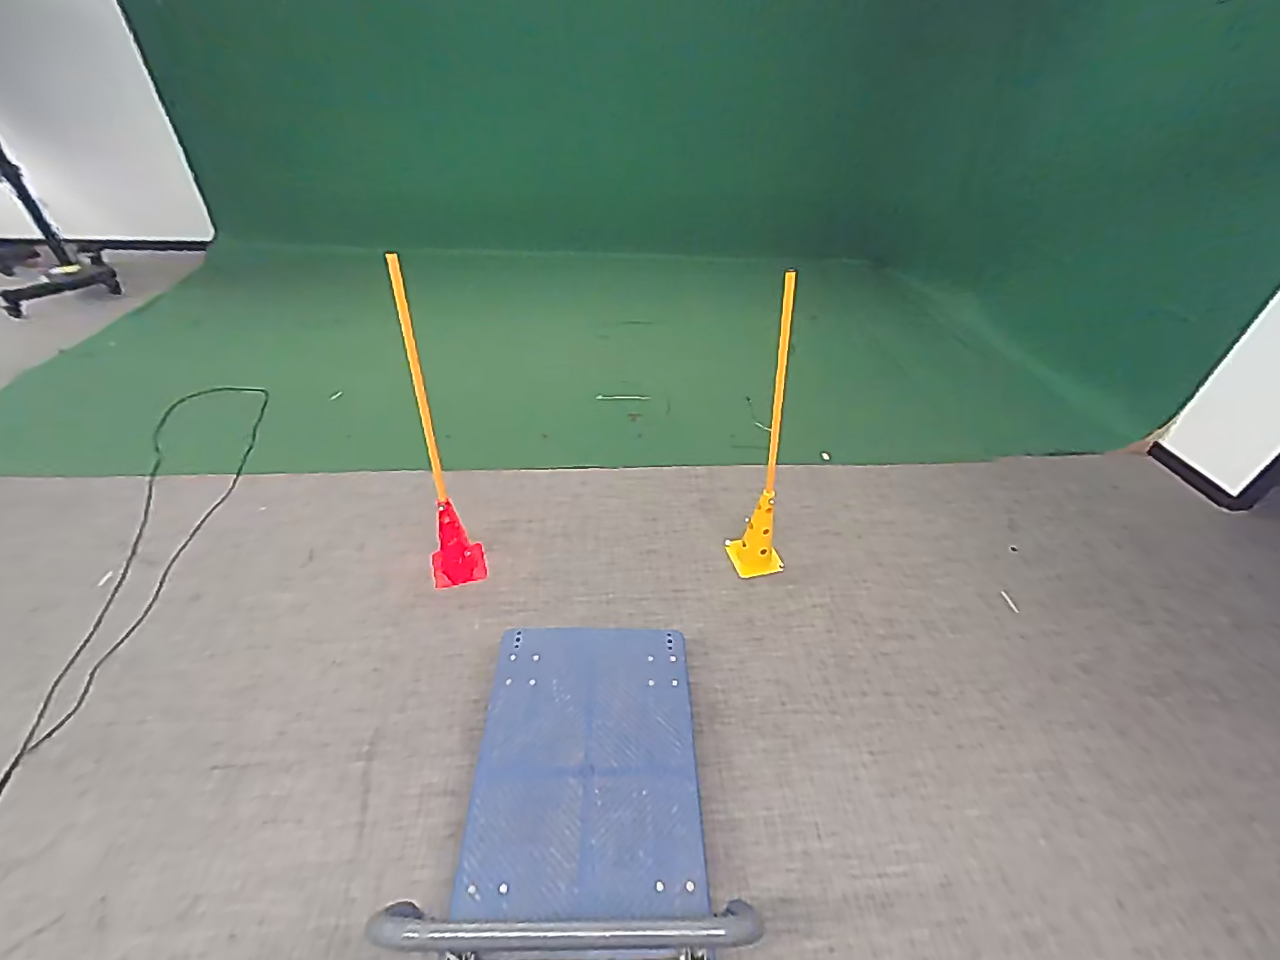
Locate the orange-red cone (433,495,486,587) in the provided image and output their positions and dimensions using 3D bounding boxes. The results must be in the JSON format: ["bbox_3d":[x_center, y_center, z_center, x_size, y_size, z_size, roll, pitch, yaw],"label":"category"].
[{"bbox_3d":[-0.706,0.200,2.014,0.199,0.360,0.198,-12,42,-15],"label":"orange-red cone"}]
